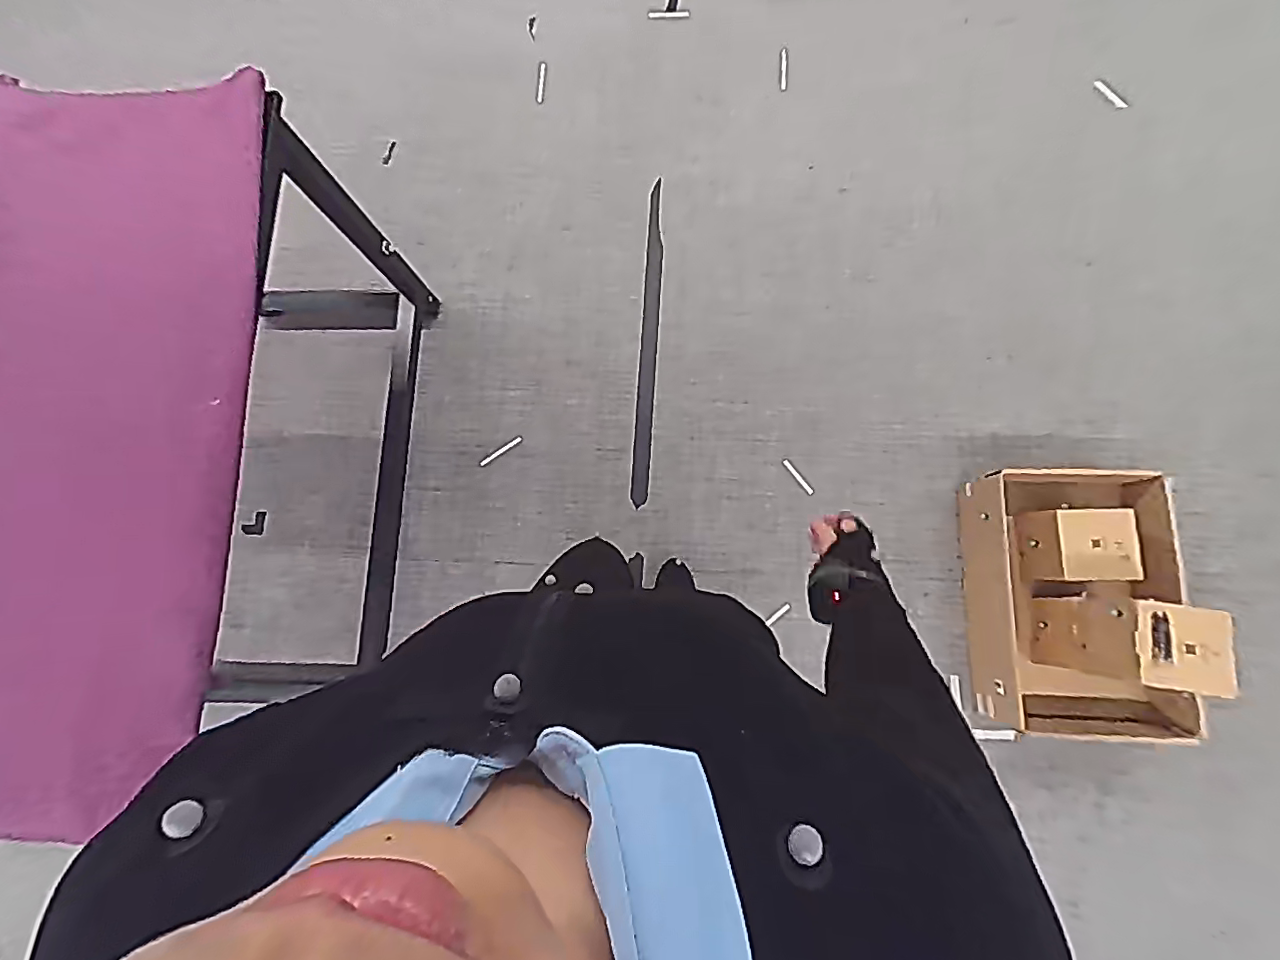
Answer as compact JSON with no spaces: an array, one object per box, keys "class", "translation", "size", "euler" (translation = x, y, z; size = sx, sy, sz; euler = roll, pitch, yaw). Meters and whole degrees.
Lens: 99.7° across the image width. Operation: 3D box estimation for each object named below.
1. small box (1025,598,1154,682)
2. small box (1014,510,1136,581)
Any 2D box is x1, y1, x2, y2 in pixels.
[{"class":"small box","translation":[1.072,0.378,1.303],"size":[0.179,0.176,0.168],"euler":[6,78,5]},{"class":"small box","translation":[1.060,0.164,1.339],"size":[0.179,0.176,0.168],"euler":[-1,82,3]}]
